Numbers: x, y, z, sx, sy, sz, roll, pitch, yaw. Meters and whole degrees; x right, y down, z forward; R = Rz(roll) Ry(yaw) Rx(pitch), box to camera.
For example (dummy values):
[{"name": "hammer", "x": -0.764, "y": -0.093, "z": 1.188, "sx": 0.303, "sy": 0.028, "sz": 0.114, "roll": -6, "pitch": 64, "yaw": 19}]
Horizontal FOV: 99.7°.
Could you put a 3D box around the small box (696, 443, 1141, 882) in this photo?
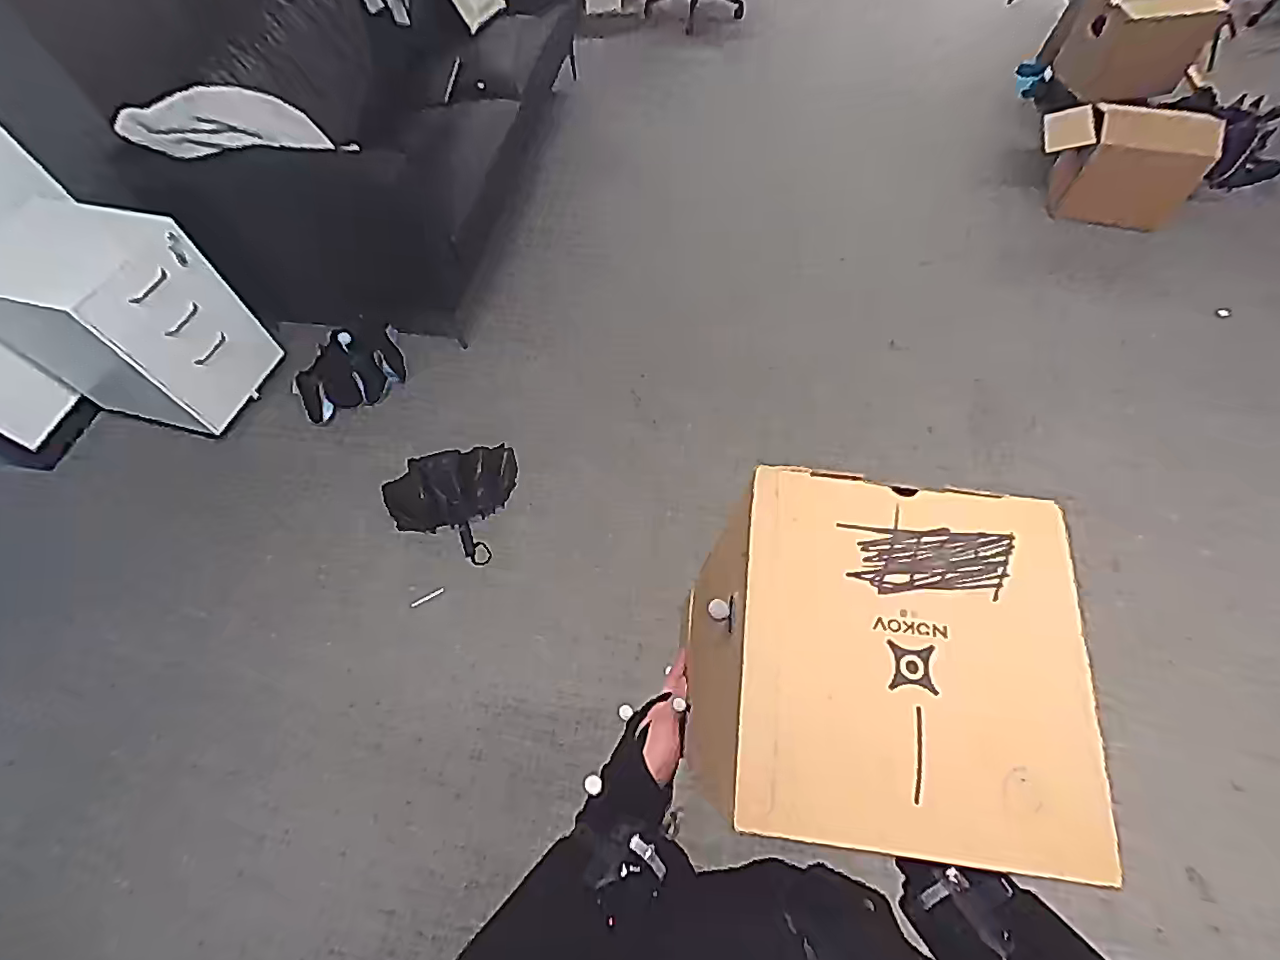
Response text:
[{"name": "small box", "x": 0.128, "y": 0.100, "z": 0.323, "sx": 0.168, "sy": 0.176, "sz": 0.179, "roll": 7, "pitch": 68, "yaw": 3}]

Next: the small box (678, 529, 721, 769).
[{"name": "small box", "x": 0.125, "y": 0.160, "z": 0.477, "sx": 0.168, "sy": 0.176, "sz": 0.179, "roll": 7, "pitch": 66, "yaw": 2}]
